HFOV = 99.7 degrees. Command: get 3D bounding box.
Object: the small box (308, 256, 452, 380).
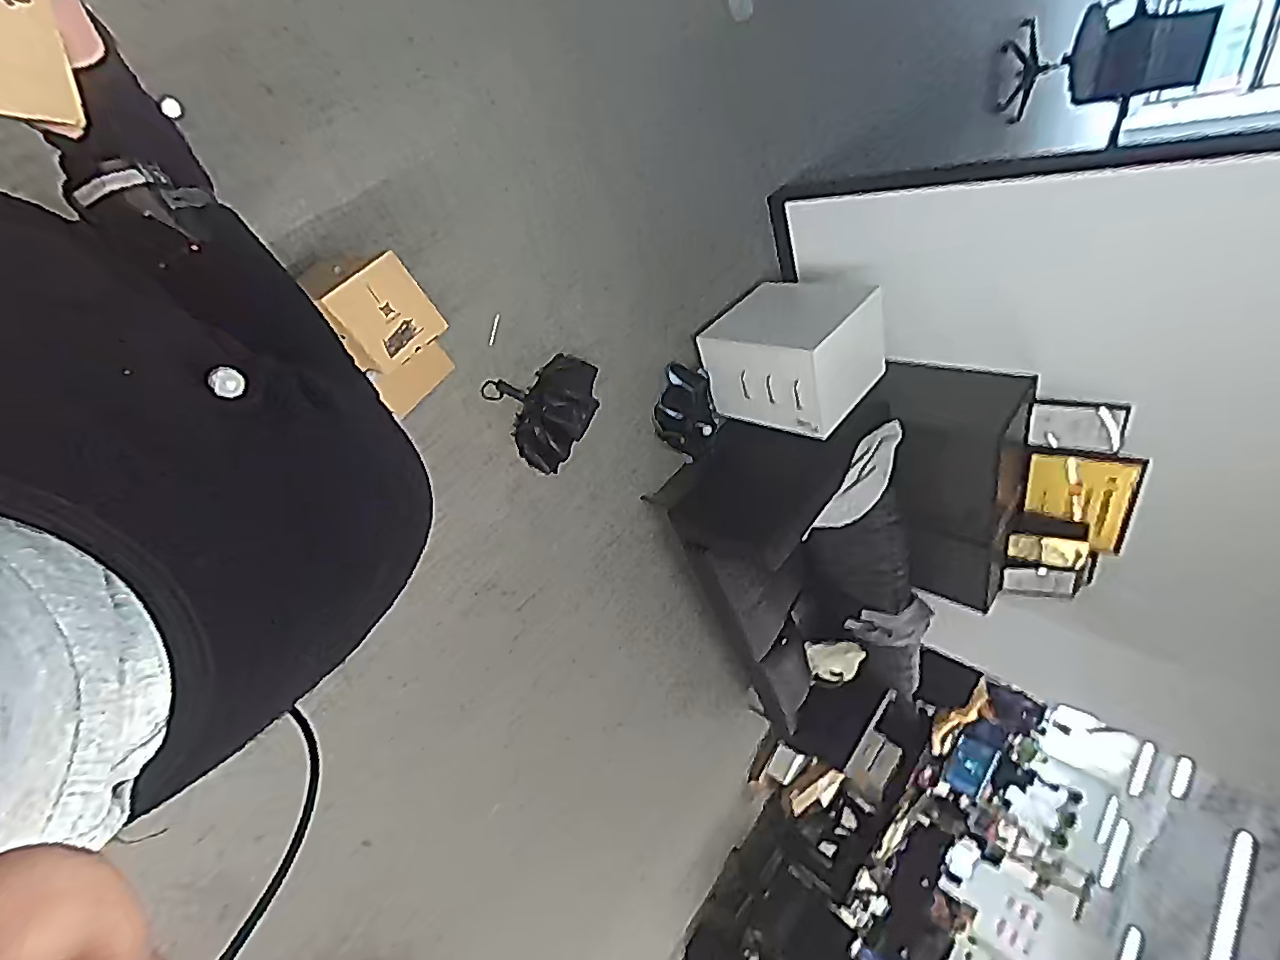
[{"bbox_3d":[-0.524,-0.325,1.090,0.168,0.176,0.179,-50,130,-21],"label":"small box"}]
